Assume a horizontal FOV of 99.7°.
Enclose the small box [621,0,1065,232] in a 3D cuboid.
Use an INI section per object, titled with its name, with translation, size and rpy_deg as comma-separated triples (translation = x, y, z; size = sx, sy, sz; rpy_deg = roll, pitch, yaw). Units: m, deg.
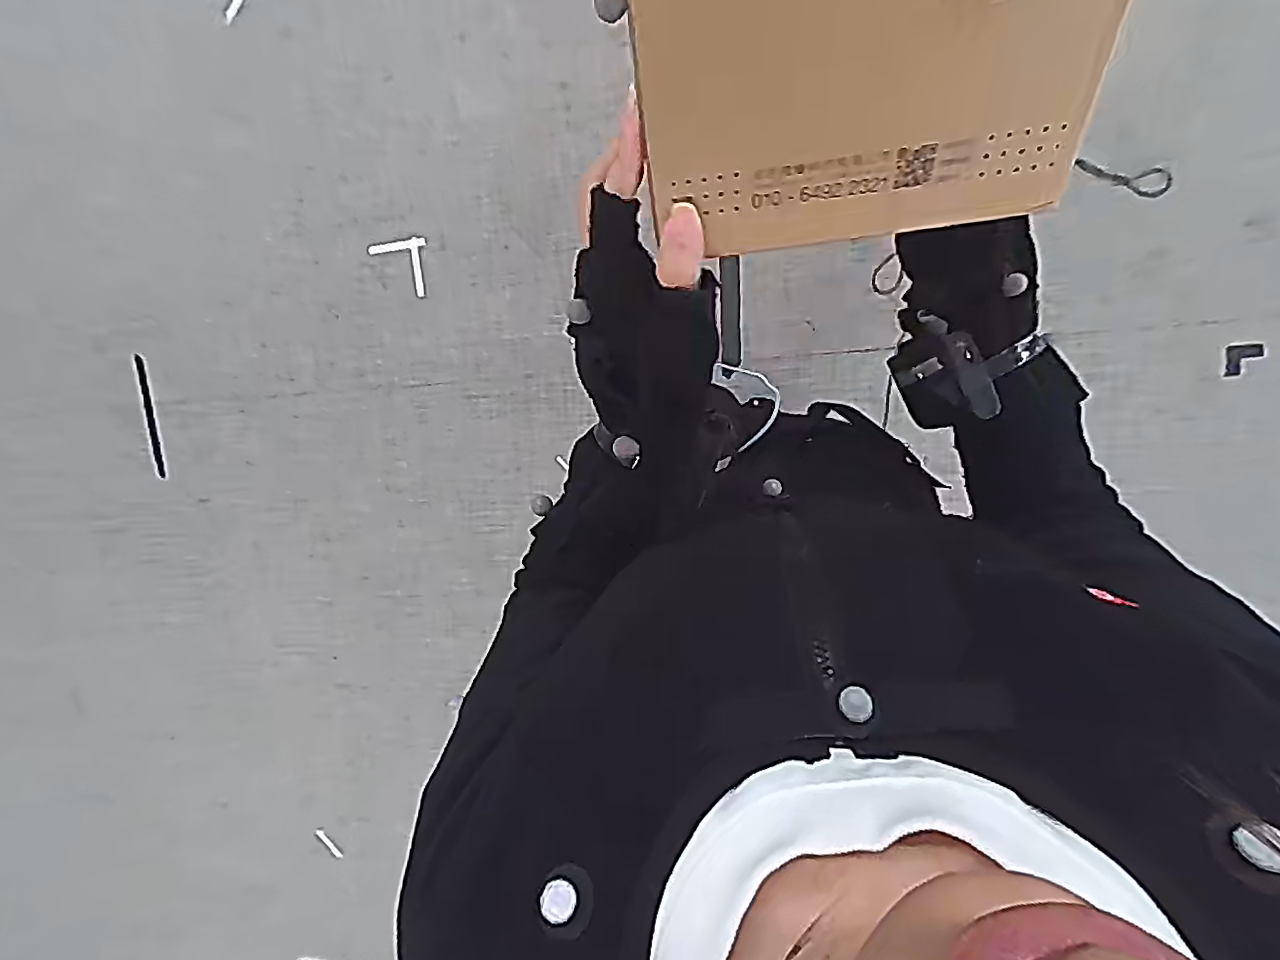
[small box]
translation = 0.082, -0.231, 0.256
size = 0.168, 0.179, 0.176
rpy_deg = -3, 134, 9
